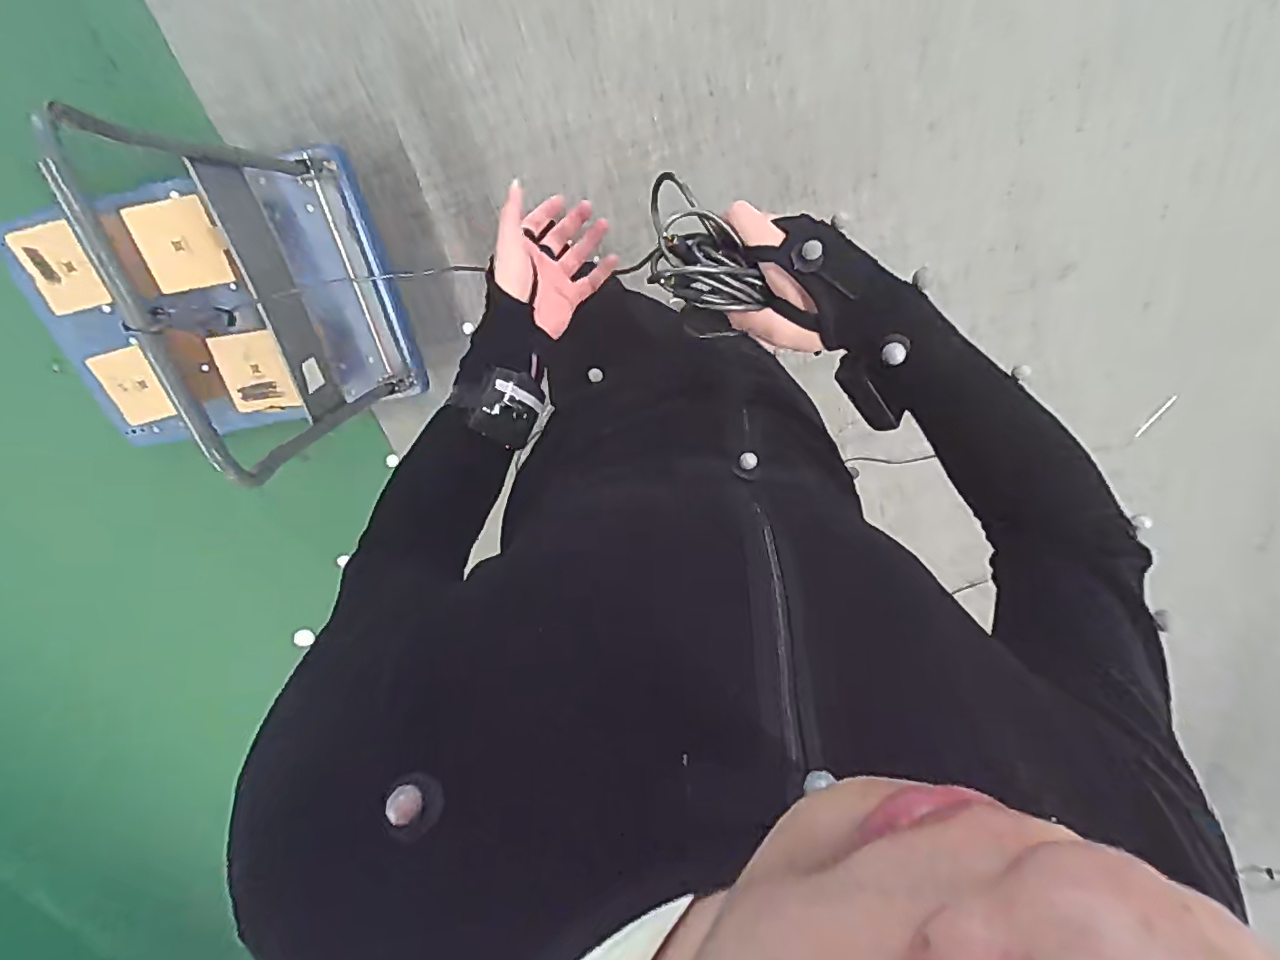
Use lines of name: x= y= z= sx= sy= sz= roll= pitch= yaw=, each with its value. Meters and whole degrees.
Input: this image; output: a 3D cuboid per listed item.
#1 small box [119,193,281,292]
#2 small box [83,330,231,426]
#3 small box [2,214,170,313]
small box: x=-0.935 y=-0.510 z=1.169 sx=0.179 sy=0.176 sz=0.168 roll=-8 pitch=115 yaw=4
small box: x=-1.137 y=-0.250 z=1.297 sx=0.179 sy=0.176 sz=0.168 roll=-12 pitch=114 yaw=7
small box: x=-1.189 y=-0.476 z=1.187 sx=0.179 sy=0.176 sz=0.168 roll=-11 pitch=116 yaw=5
